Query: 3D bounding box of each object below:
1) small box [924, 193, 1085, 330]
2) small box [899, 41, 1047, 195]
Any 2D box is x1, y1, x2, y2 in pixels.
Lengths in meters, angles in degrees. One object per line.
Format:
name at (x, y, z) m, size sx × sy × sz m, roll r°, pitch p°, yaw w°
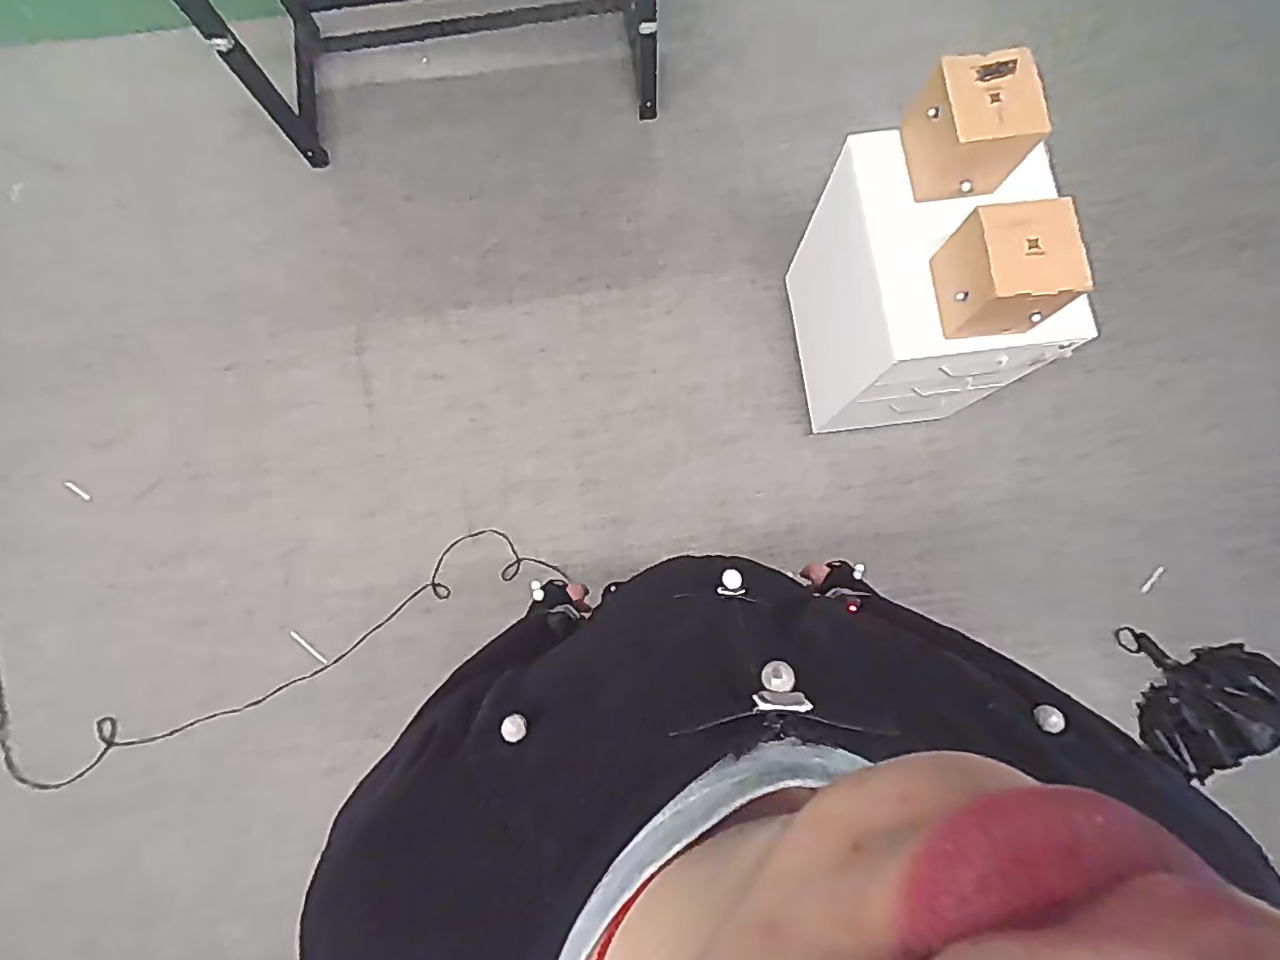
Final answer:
small box at (0.656, -0.390, 0.995) m, size 0.168 × 0.176 × 0.179 m, roll -5°, pitch 80°, yaw -2°
small box at (0.623, -0.684, 1.037) m, size 0.168 × 0.176 × 0.179 m, roll -7°, pitch 83°, yaw -1°
